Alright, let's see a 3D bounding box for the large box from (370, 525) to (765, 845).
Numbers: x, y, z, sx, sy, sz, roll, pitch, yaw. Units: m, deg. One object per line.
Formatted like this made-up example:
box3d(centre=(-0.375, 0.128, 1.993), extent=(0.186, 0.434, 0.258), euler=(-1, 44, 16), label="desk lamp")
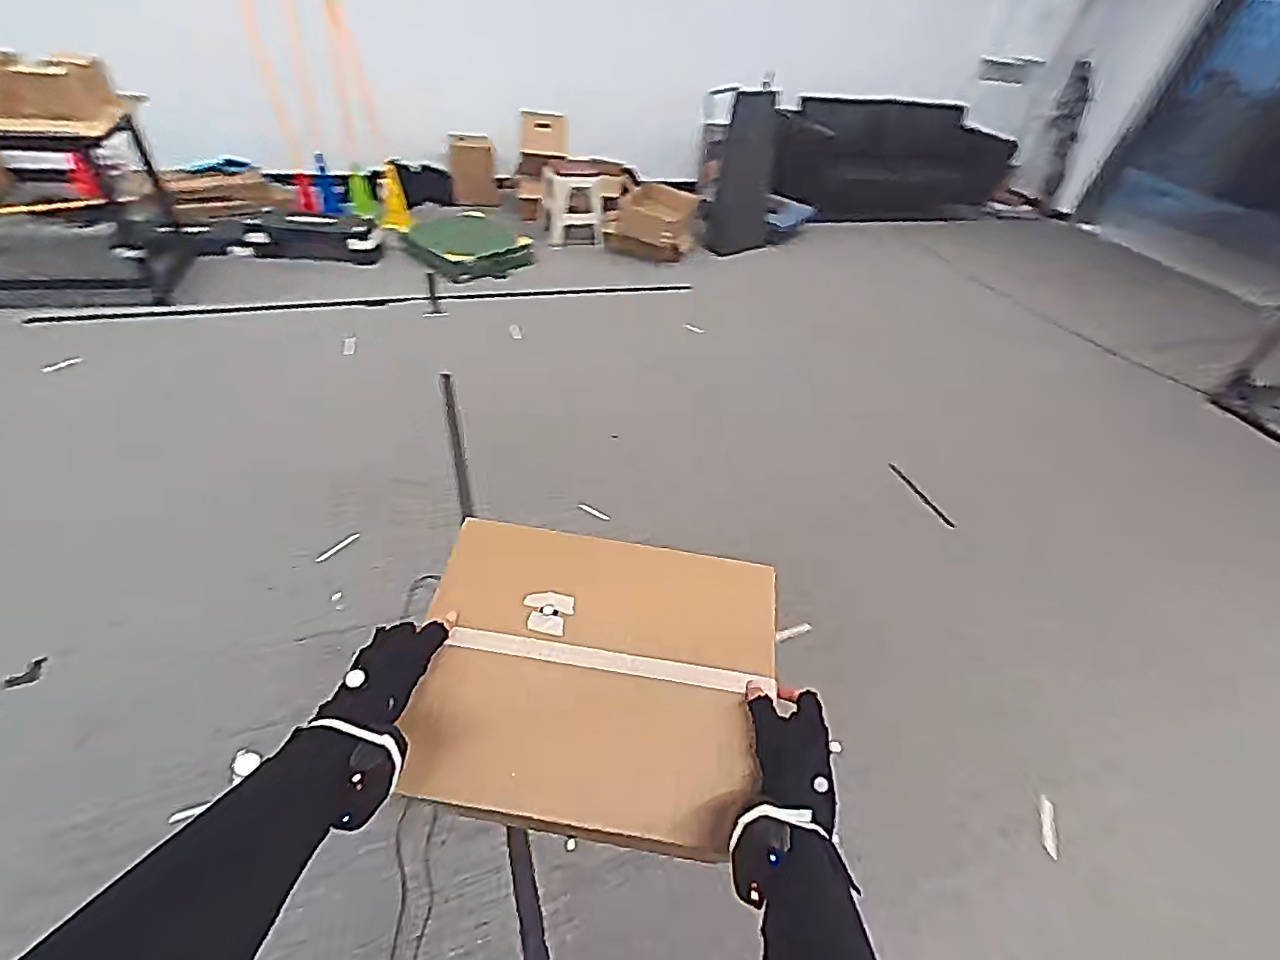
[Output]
box3d(centre=(-0.063, 0.291, 0.740), extent=(0.408, 0.320, 0.320), euler=(8, 53, 2), label="large box")
